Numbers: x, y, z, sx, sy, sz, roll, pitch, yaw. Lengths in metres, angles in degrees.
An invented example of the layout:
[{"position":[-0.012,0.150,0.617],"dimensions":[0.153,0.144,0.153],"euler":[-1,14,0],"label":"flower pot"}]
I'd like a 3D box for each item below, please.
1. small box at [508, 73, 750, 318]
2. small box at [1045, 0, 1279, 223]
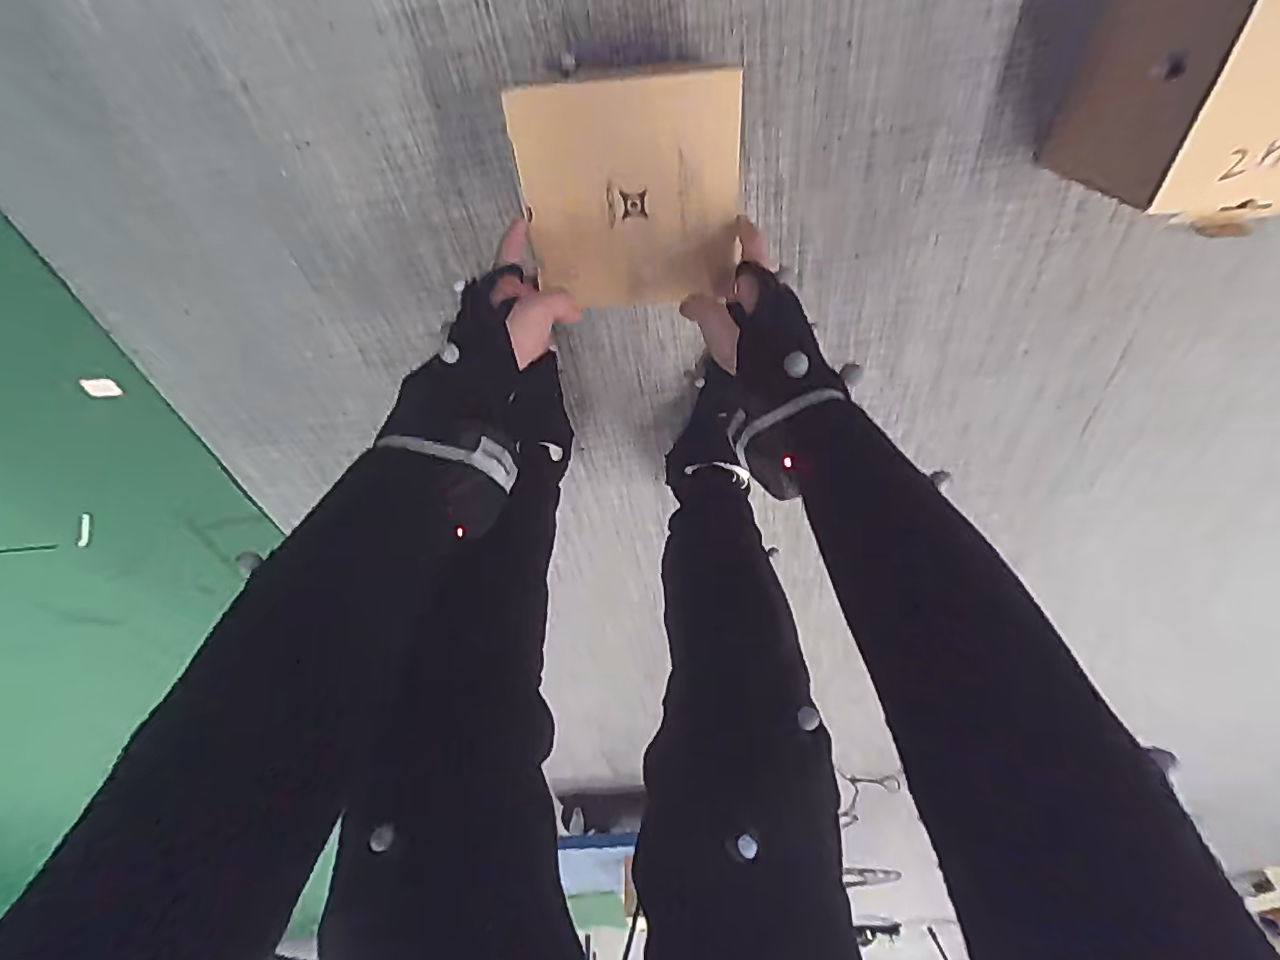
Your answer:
[{"position":[-0.004,-0.261,0.492],"dimensions":[0.179,0.176,0.168],"euler":[-3,129,2],"label":"small box"},{"position":[0.501,-0.340,0.461],"dimensions":[0.168,0.176,0.179],"euler":[3,134,0],"label":"small box"}]
